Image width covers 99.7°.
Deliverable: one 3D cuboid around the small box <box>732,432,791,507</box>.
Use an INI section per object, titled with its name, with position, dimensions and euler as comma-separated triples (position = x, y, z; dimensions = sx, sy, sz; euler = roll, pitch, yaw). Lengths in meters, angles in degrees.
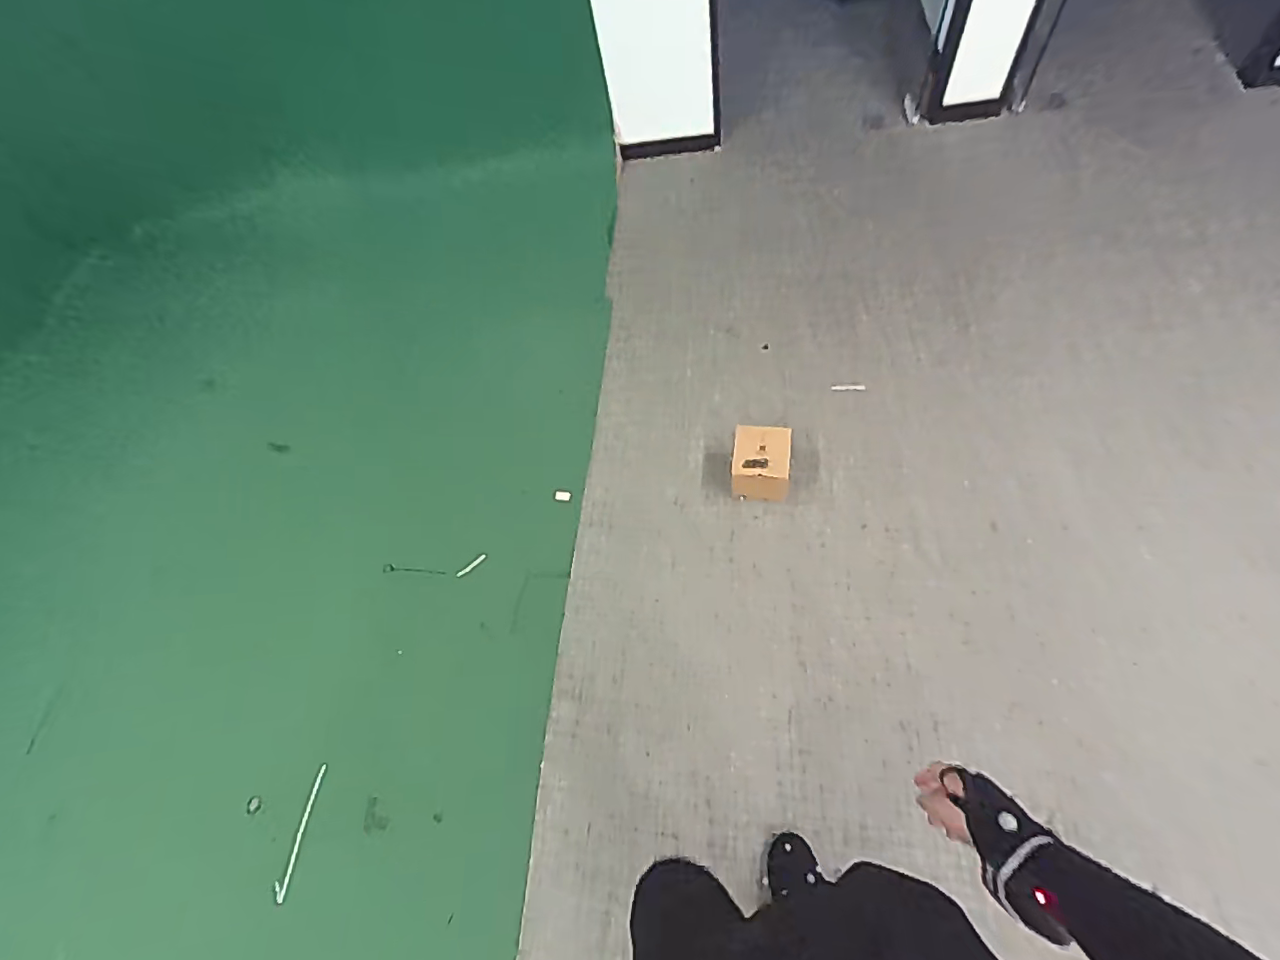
[small box]
position = 0.379, -0.030, 1.690
dimensions = 0.168, 0.176, 0.179
euler = 5, 62, 12
